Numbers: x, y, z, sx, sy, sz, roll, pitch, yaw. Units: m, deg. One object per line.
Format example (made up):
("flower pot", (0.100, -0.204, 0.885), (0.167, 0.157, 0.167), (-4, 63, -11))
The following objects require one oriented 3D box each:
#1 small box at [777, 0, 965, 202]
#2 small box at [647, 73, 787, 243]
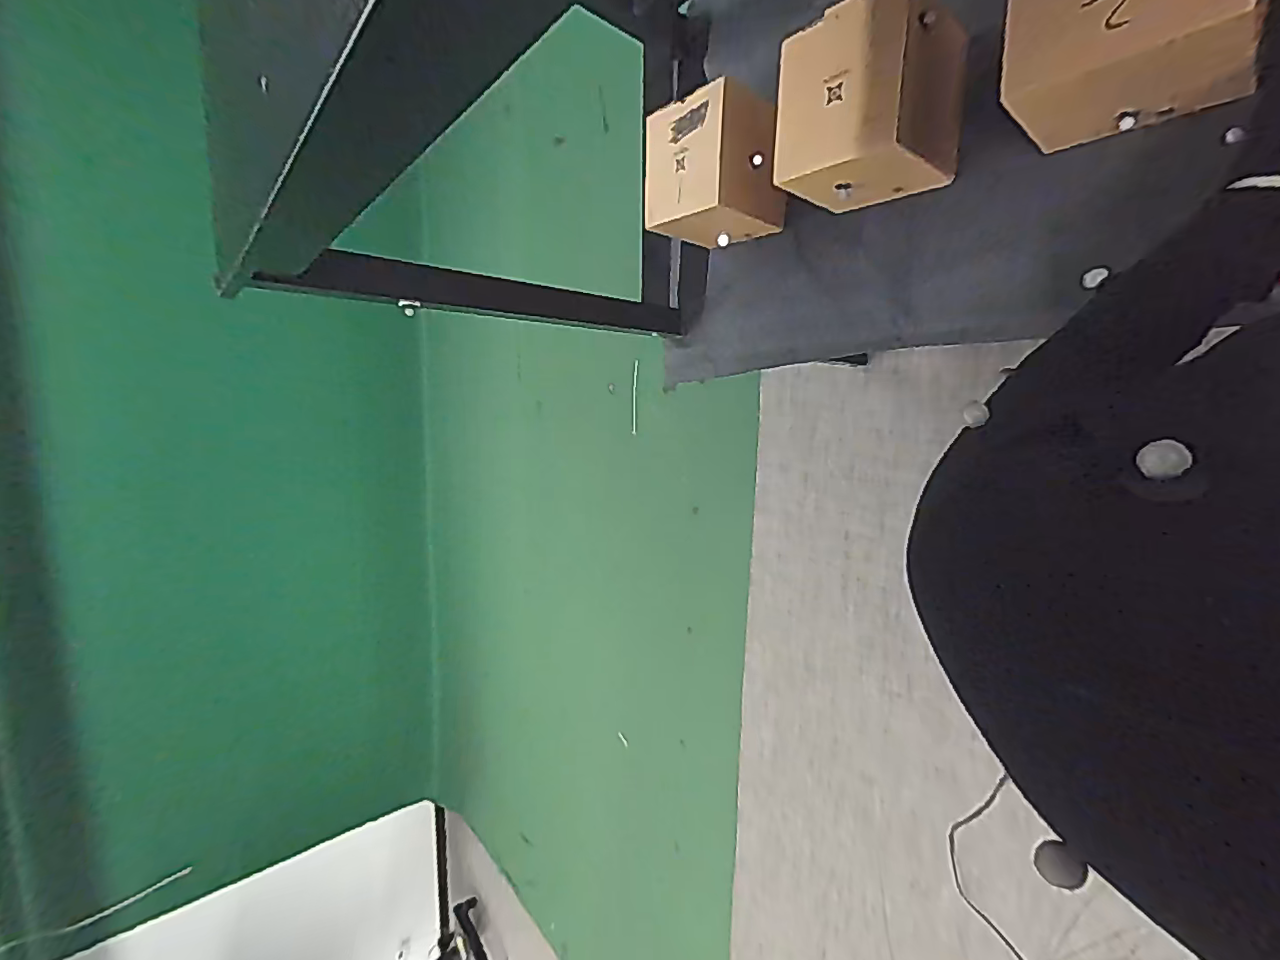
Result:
("small box", (0.298, -0.480, 0.700), (0.168, 0.176, 0.179), (11, 102, 48))
("small box", (0.130, -0.509, 0.887), (0.168, 0.176, 0.179), (11, 104, 48))
